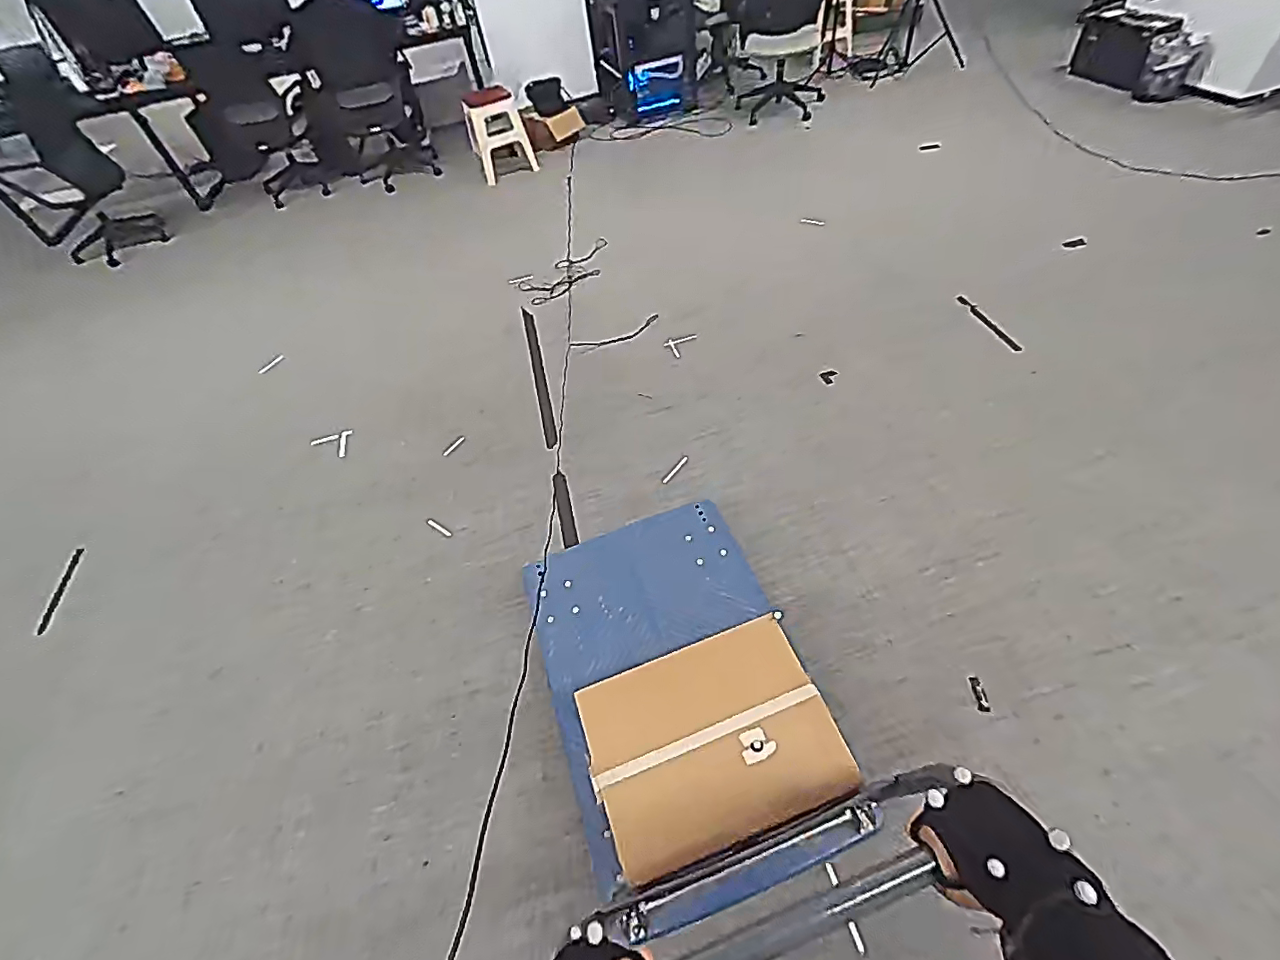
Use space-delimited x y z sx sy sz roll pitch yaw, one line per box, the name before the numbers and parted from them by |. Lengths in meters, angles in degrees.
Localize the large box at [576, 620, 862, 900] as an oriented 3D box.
large box | 0.134 0.535 1.030 0.408 0.320 0.320 -20 53 -7
